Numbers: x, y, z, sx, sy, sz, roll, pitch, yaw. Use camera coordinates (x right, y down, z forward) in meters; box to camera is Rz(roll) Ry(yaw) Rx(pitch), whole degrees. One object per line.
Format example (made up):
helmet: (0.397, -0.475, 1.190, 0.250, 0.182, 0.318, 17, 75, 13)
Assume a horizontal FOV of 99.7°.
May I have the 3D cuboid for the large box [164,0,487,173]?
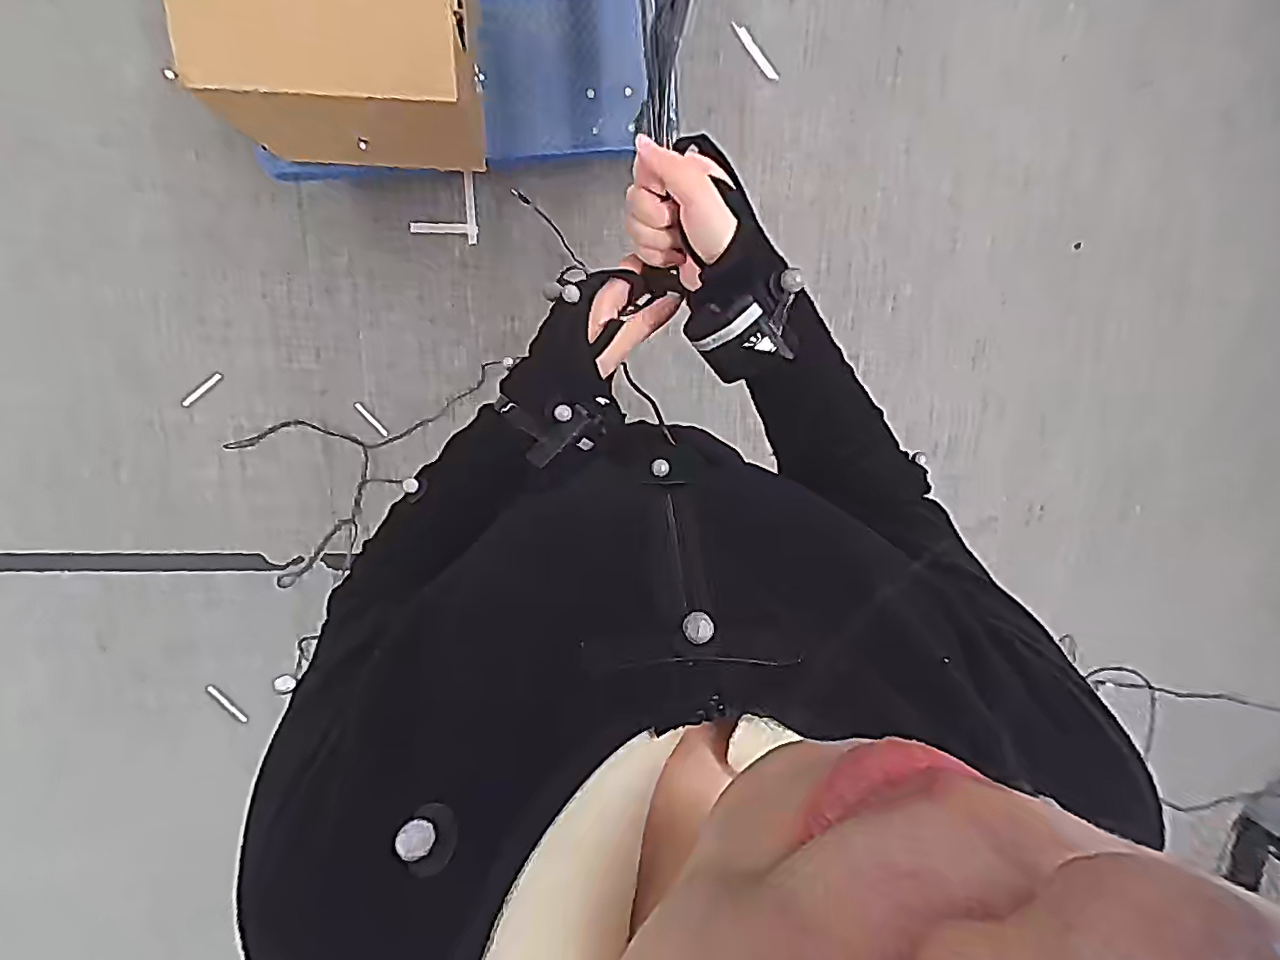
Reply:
large box: (-0.503, -0.753, 0.939, 0.408, 0.320, 0.320, -2, 101, -7)
